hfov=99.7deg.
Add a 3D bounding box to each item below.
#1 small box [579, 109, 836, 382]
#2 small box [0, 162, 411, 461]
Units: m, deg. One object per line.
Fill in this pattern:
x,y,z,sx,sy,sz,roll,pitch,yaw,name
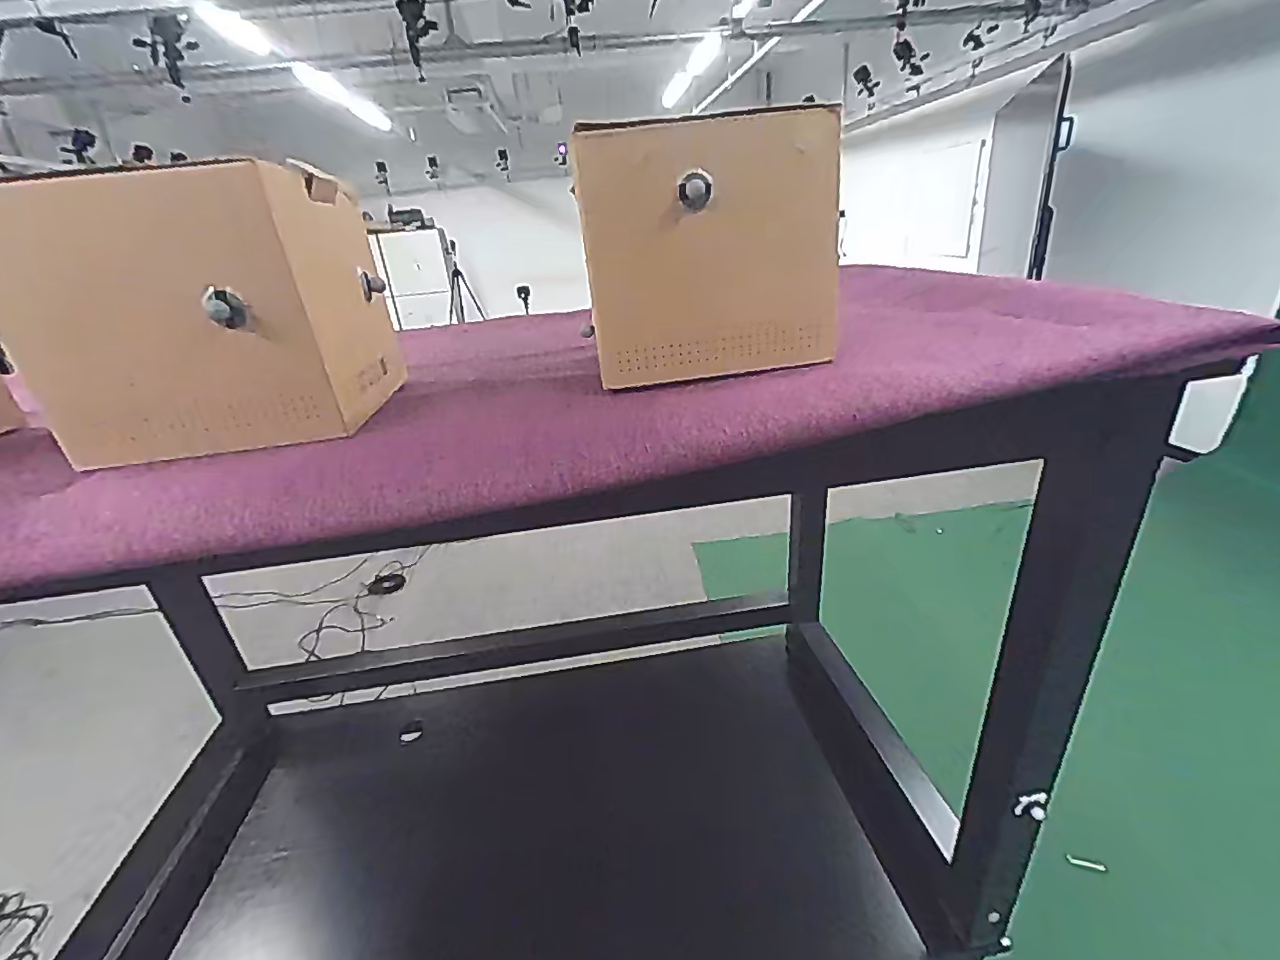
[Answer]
0.048,-0.183,0.454,0.179,0.176,0.168,-7,22,-3,small box
-0.293,-0.126,0.406,0.179,0.176,0.168,-9,24,-5,small box
